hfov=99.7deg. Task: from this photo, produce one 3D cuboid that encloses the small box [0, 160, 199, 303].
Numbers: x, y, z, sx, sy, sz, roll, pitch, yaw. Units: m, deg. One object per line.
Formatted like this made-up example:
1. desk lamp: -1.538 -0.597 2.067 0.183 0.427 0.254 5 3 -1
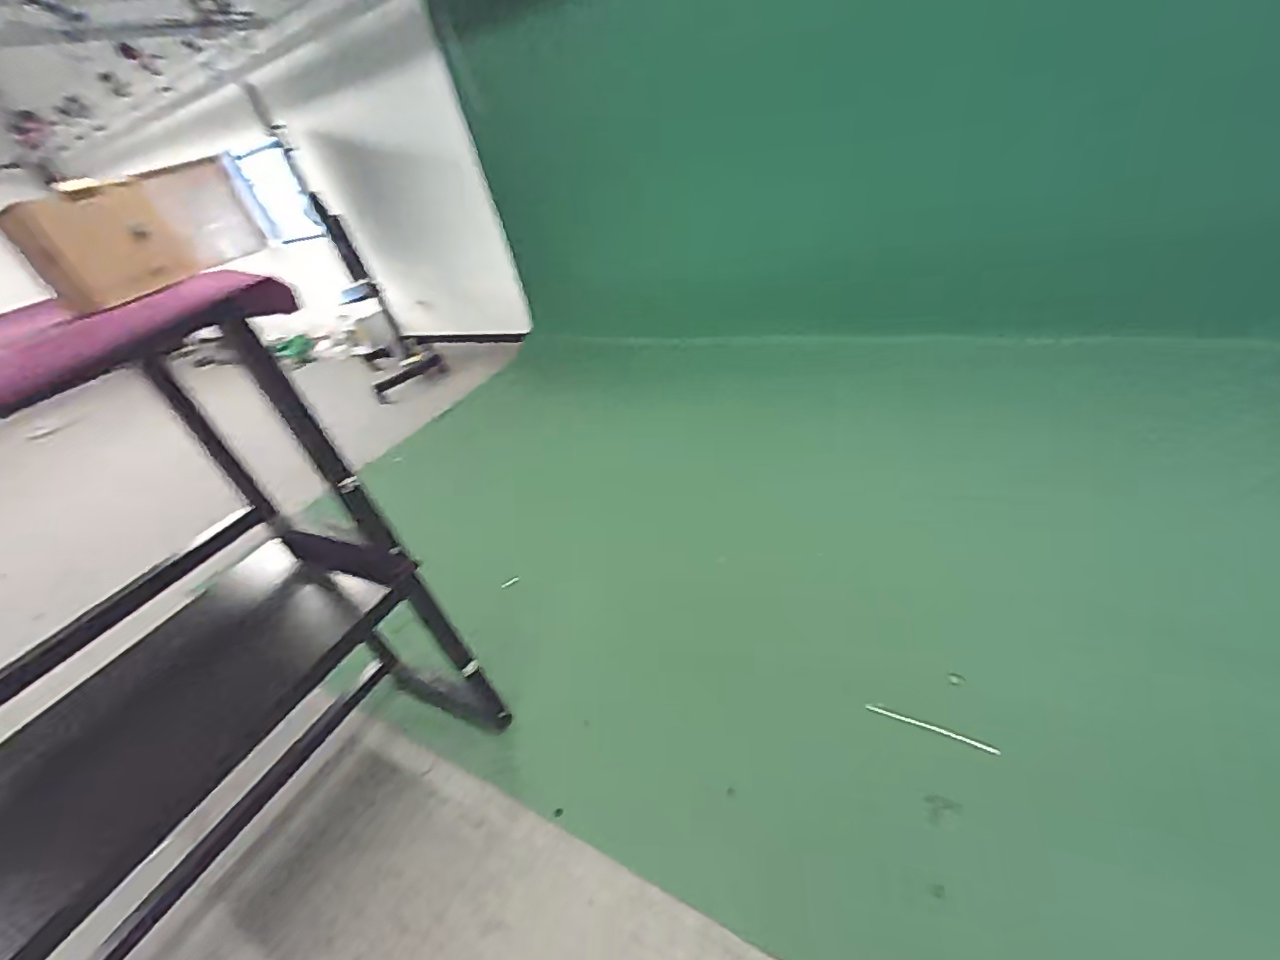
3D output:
1. small box: -0.909 -0.415 0.916 0.179 0.176 0.168 5 40 30
